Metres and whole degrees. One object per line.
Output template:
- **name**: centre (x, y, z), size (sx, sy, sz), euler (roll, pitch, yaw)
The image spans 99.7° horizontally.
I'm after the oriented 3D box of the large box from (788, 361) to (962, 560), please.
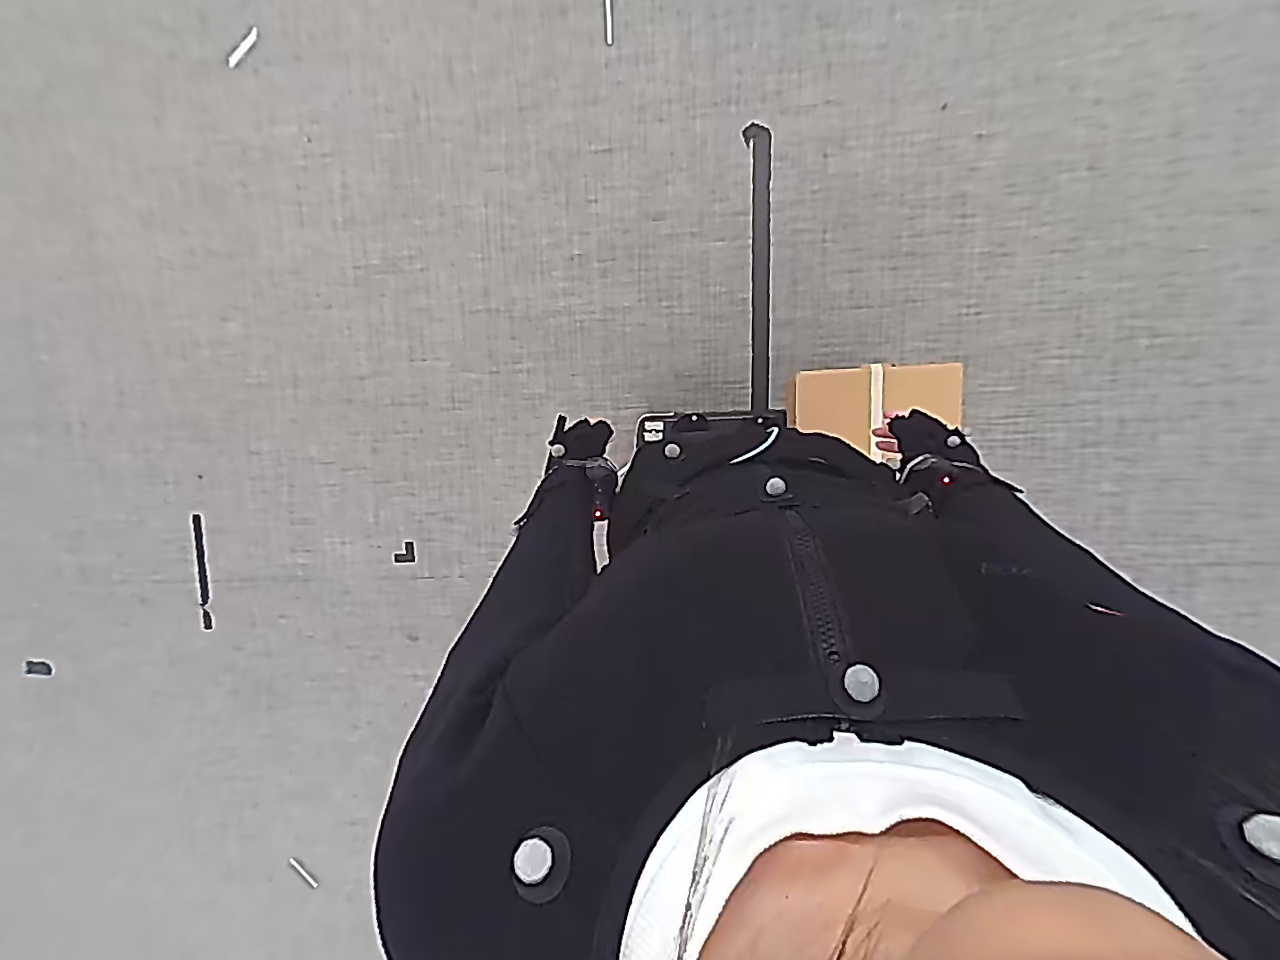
- **large box**: centre (0.514, -0.052, 1.246), size (0.320, 0.320, 0.408), euler (-1, 99, 13)
